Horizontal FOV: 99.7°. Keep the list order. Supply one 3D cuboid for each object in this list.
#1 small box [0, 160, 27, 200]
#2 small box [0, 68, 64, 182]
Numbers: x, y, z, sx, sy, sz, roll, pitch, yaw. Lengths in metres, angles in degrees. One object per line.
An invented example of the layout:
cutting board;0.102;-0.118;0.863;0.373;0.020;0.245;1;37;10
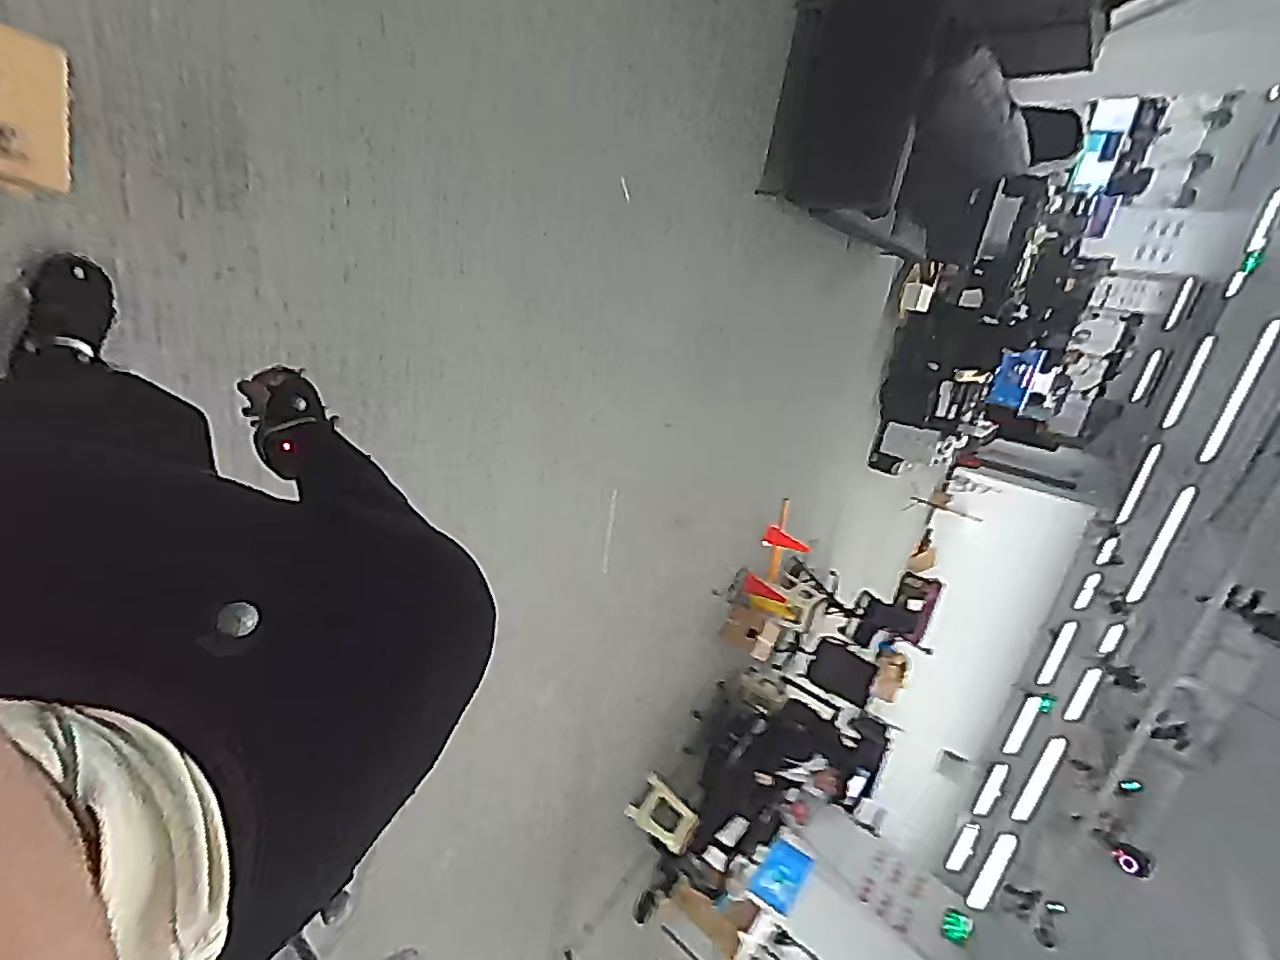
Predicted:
small box;-1.129;-0.574;0.876;0.168;0.176;0.179;-7;113;-52
small box;-1.009;-0.544;0.782;0.168;0.176;0.179;-58;144;-11
